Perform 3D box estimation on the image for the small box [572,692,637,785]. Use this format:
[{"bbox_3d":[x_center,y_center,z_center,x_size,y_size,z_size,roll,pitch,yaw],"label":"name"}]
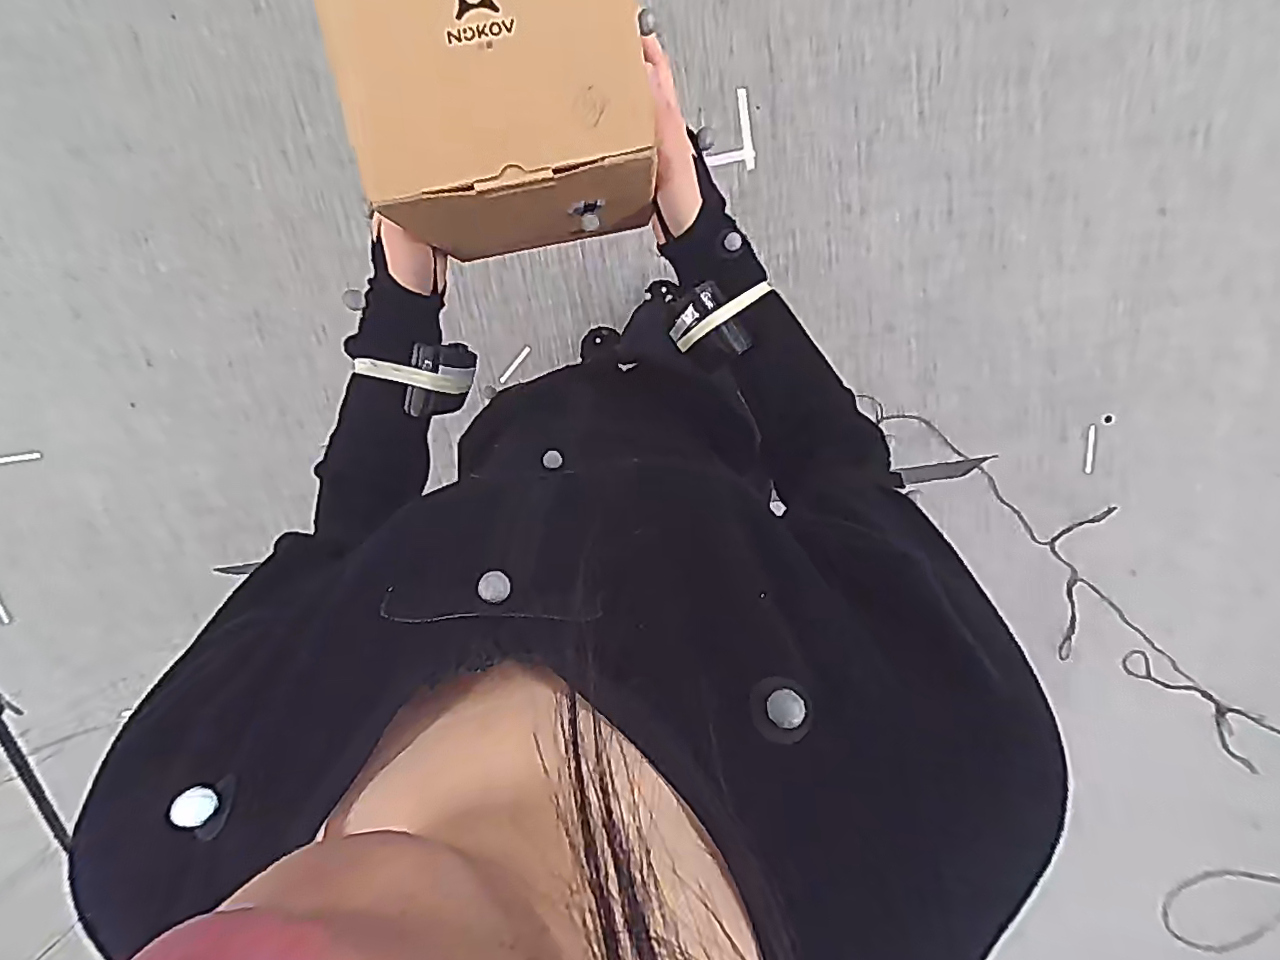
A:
[{"bbox_3d":[-0.102,0.765,1.611,0.168,0.176,0.179,-9,104,0],"label":"small box"}]
